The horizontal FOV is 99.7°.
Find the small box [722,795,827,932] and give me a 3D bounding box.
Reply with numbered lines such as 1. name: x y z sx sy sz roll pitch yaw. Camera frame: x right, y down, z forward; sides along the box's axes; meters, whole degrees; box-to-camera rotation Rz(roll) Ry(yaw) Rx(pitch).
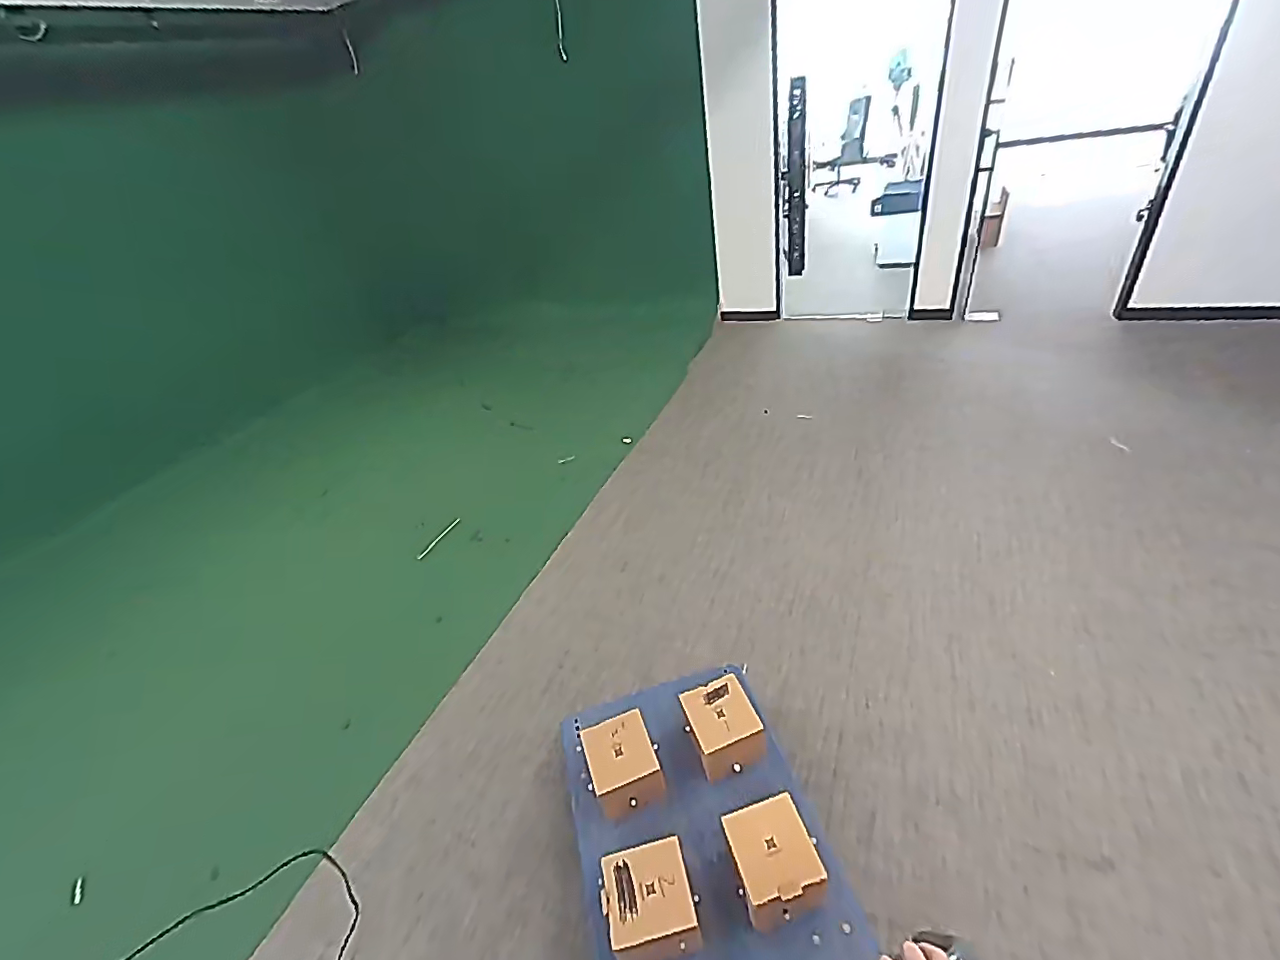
1. small box: 0.289 0.840 1.188 0.168 0.176 0.179 -16 37 -7

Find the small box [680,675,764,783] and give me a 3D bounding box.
1. small box: 0.217 0.663 1.443 0.168 0.176 0.179 -18 38 -10

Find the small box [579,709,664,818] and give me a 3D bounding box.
1. small box: -0.045 0.741 1.403 0.168 0.176 0.179 -17 37 -10
